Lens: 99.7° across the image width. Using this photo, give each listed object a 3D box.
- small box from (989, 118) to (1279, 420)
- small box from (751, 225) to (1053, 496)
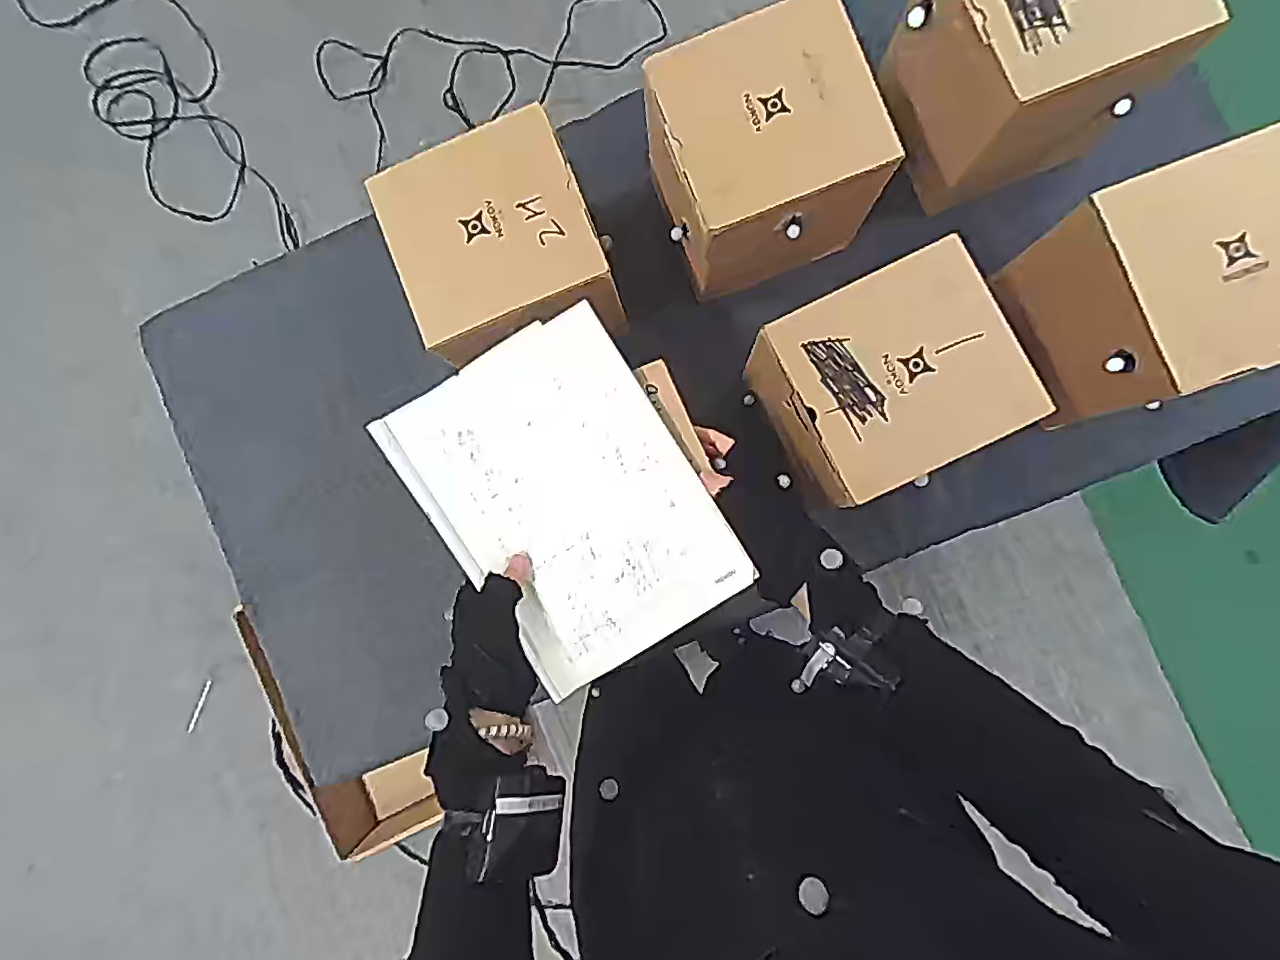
[{"bbox_3d":[0.466,-0.172,0.497,0.168,0.176,0.179,-20,85,3],"label":"small box"},{"bbox_3d":[0.217,-0.091,0.509,0.179,0.176,0.168,-25,85,2],"label":"small box"}]
